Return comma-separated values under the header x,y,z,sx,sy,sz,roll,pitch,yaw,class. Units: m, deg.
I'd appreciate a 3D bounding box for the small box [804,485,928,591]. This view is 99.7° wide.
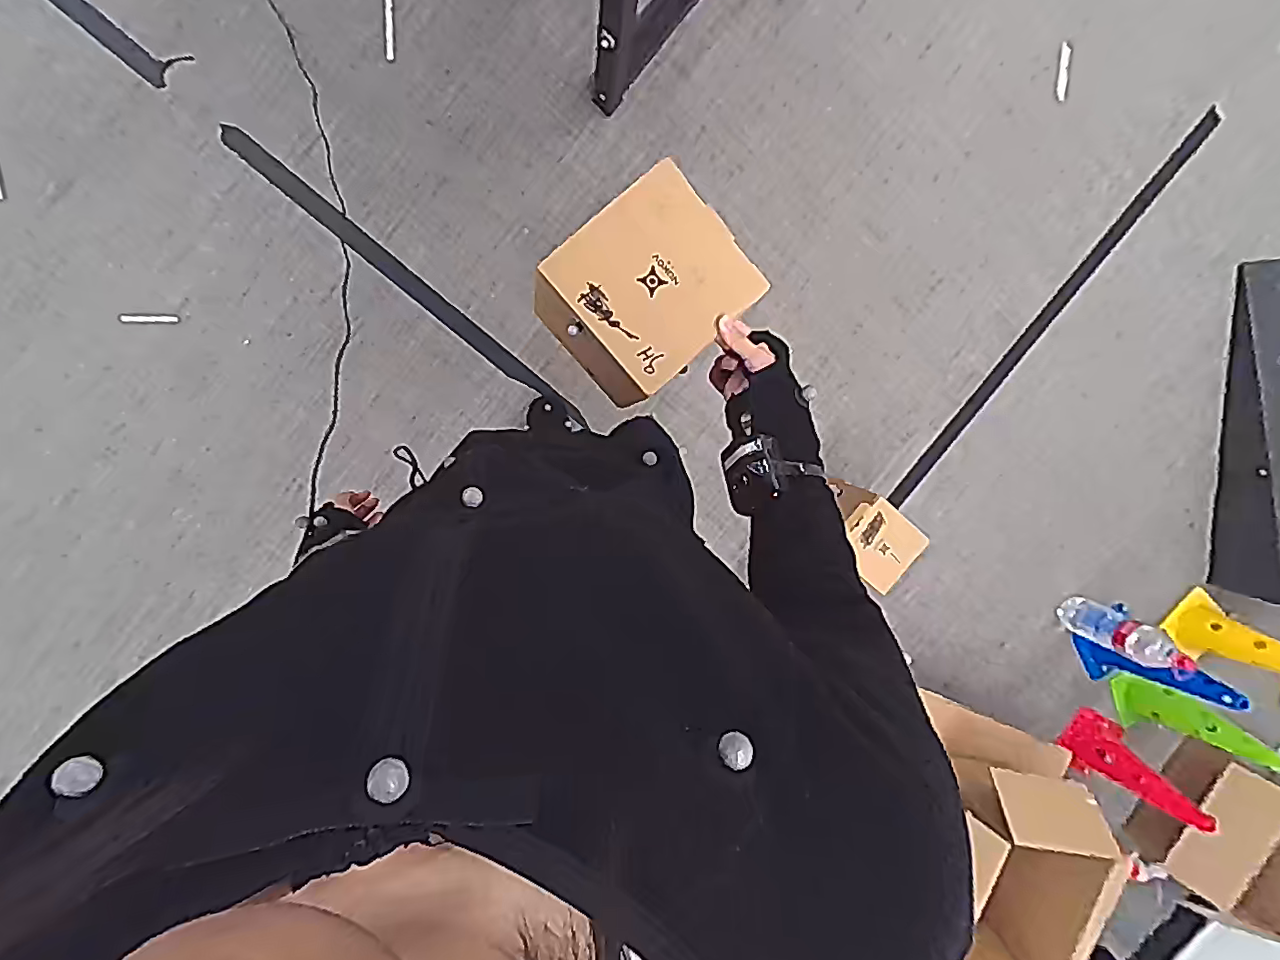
x,y,z,sx,sy,sz,roll,pitch,yaw,class
0.528,0.129,1.288,0.179,0.176,0.168,39,93,-14,small box

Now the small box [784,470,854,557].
x,y,z,sx,sy,sz,roll,pitch,yaw,class
0.511,0.095,1.449,0.168,0.176,0.179,36,93,-13,small box

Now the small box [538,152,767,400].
x,y,z,sx,sy,sz,roll,pitch,yaw,class
0.000,-0.208,0.605,0.179,0.176,0.168,-43,101,-7,small box
